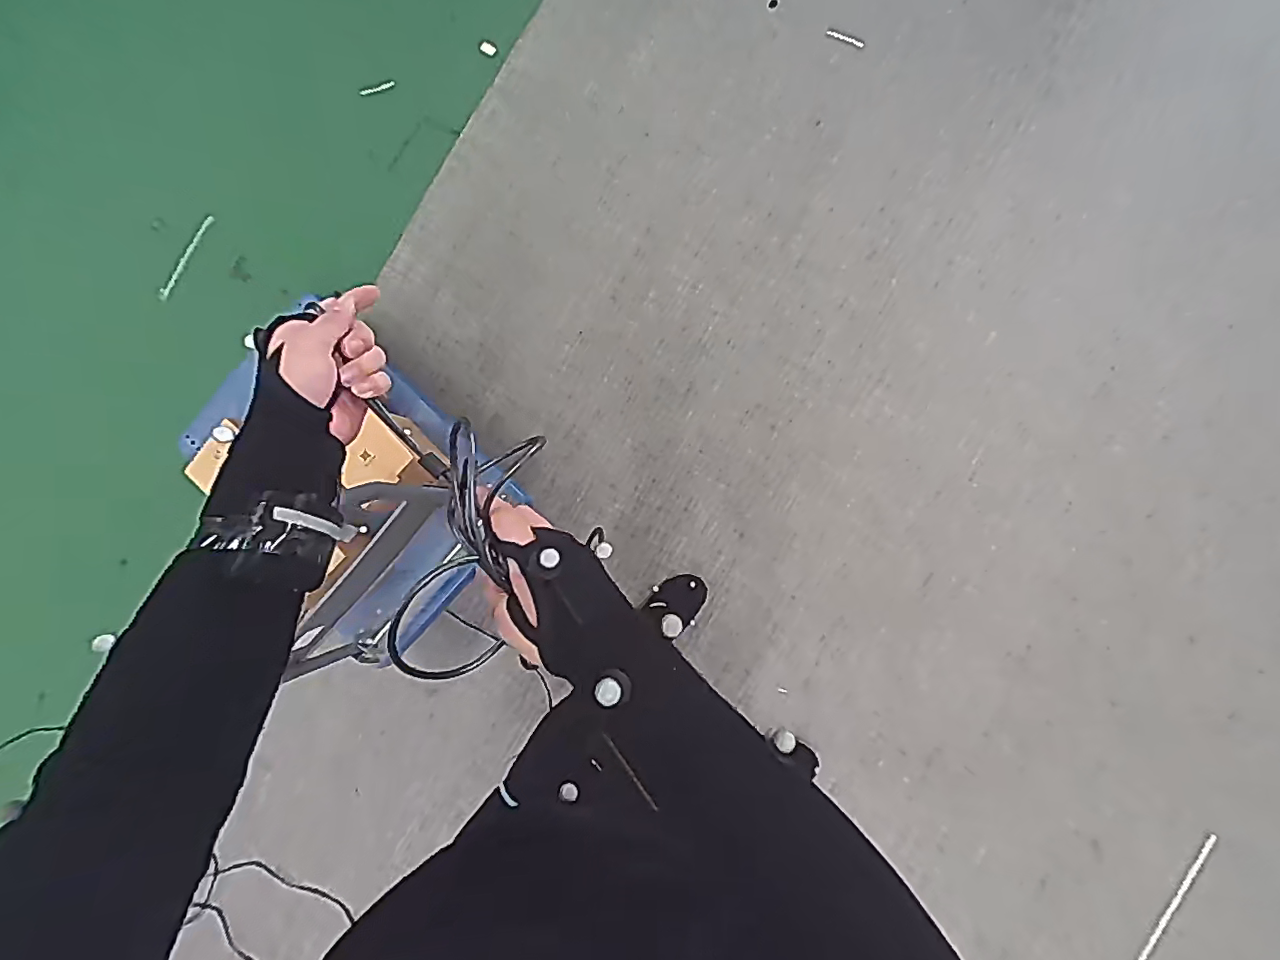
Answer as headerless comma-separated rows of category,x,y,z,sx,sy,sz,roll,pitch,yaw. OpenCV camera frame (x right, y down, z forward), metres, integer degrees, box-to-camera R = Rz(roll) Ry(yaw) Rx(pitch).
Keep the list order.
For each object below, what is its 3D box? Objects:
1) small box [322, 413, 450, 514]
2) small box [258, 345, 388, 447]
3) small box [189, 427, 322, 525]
small box,-0.596,-0.030,1.289,0.179,0.176,0.168,44,93,9
small box,-0.769,-0.194,1.329,0.179,0.176,0.168,41,93,9
small box,-0.942,-0.006,1.341,0.179,0.176,0.168,39,91,10
